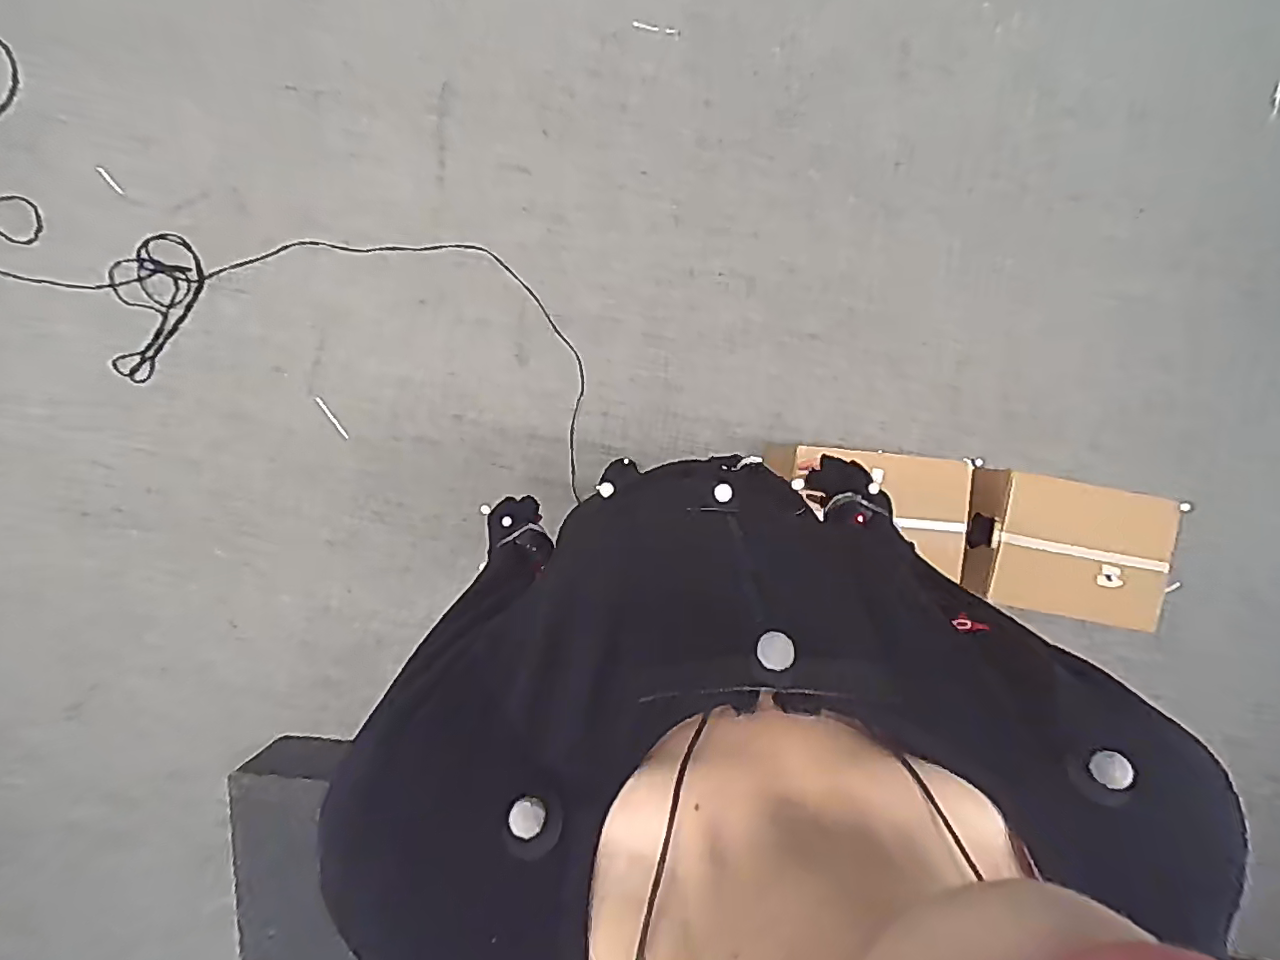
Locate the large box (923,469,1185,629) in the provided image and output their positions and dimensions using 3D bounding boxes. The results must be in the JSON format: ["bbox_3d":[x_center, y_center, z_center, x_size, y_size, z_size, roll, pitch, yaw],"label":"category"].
[{"bbox_3d":[1.007,0.155,1.365,0.408,0.320,0.320,11,92,-2],"label":"large box"}]
